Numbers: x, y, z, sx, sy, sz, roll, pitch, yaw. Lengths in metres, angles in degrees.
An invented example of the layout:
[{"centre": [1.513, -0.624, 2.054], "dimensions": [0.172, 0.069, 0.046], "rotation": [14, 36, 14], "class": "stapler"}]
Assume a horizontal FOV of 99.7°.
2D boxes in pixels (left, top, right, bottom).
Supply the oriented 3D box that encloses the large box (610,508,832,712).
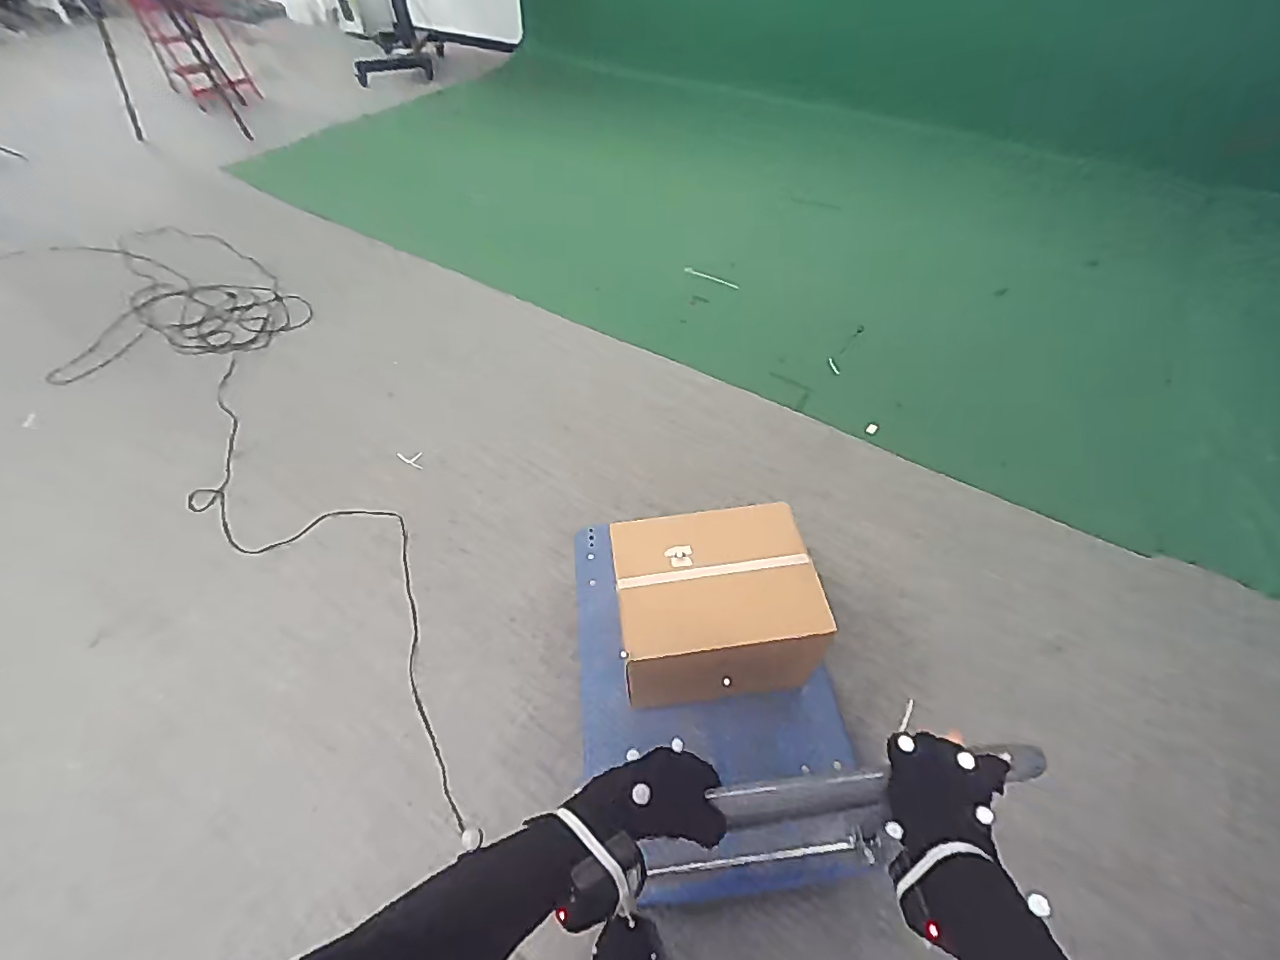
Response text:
[{"centre": [0.157, 0.299, 1.228], "dimensions": [0.408, 0.320, 0.320], "rotation": [-8, 51, -4], "class": "large box"}]
